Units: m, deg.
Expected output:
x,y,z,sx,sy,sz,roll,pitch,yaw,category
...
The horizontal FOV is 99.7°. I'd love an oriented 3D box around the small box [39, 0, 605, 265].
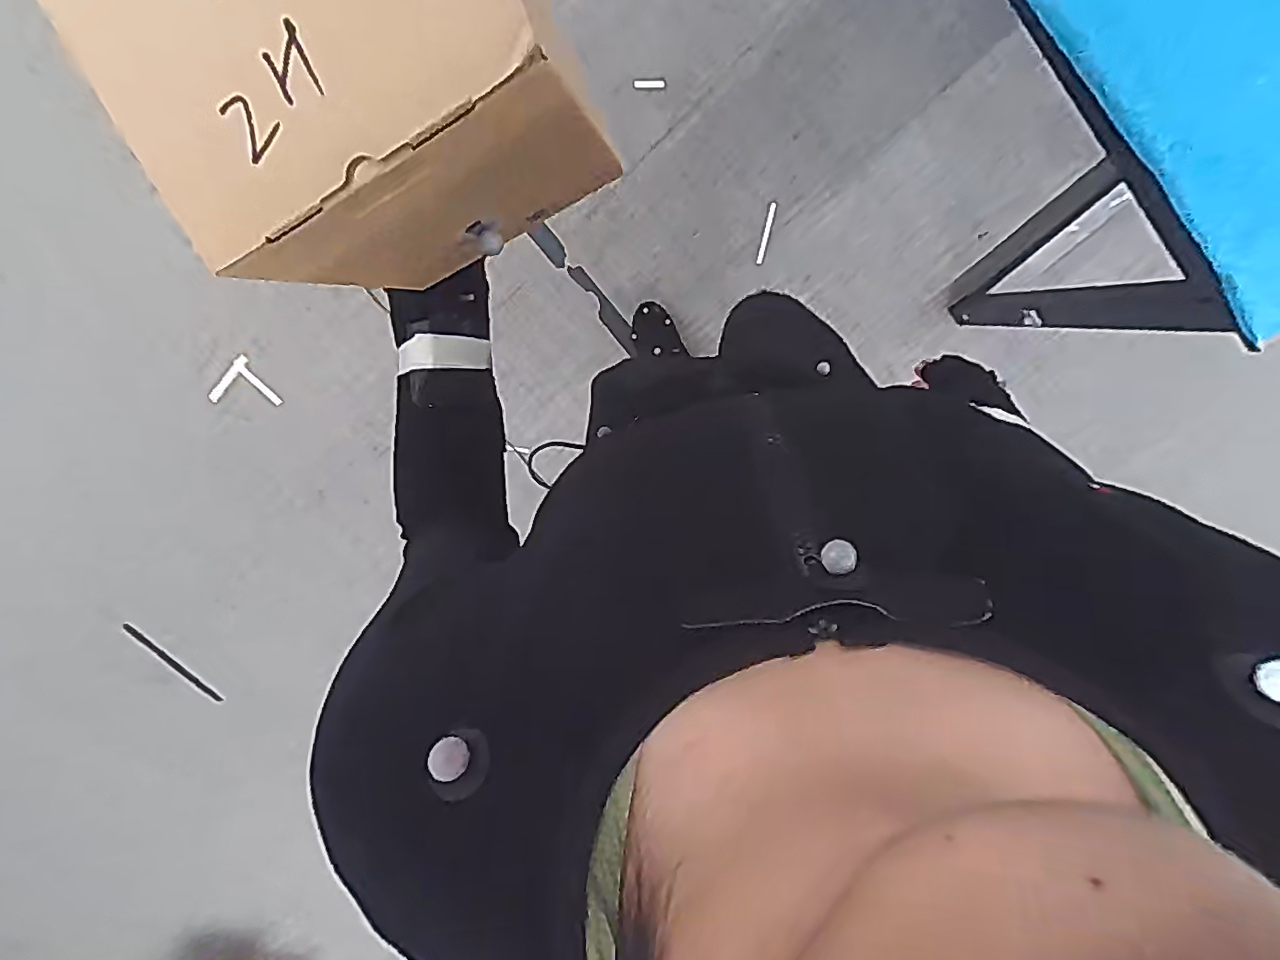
x,y,z,sx,sy,sz,roll,pitch,yaw,category
-0.134,-0.220,0.262,0.168,0.176,0.179,-18,106,15,small box
